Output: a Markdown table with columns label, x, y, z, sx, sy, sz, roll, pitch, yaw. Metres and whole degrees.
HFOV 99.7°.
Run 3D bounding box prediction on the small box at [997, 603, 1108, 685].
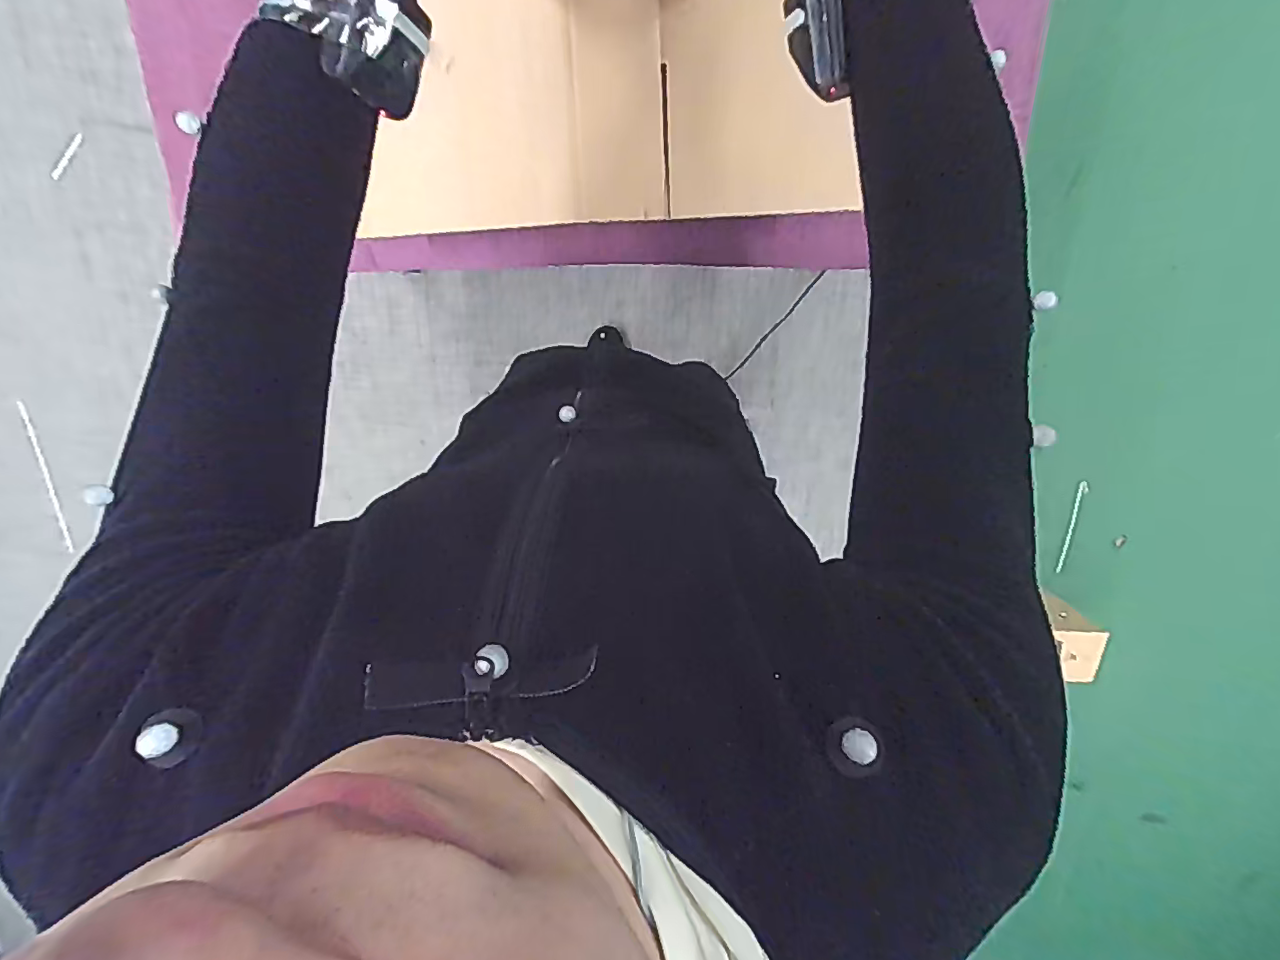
| label | x | y | z | sx | sy | sz | roll | pitch | yaw |
| --- | --- | --- | --- | --- | --- | --- | --- | --- | --- |
| small box | 1.189 | 0.472 | 1.573 | 0.179 | 0.176 | 0.168 | 3 | 108 | -3 |
